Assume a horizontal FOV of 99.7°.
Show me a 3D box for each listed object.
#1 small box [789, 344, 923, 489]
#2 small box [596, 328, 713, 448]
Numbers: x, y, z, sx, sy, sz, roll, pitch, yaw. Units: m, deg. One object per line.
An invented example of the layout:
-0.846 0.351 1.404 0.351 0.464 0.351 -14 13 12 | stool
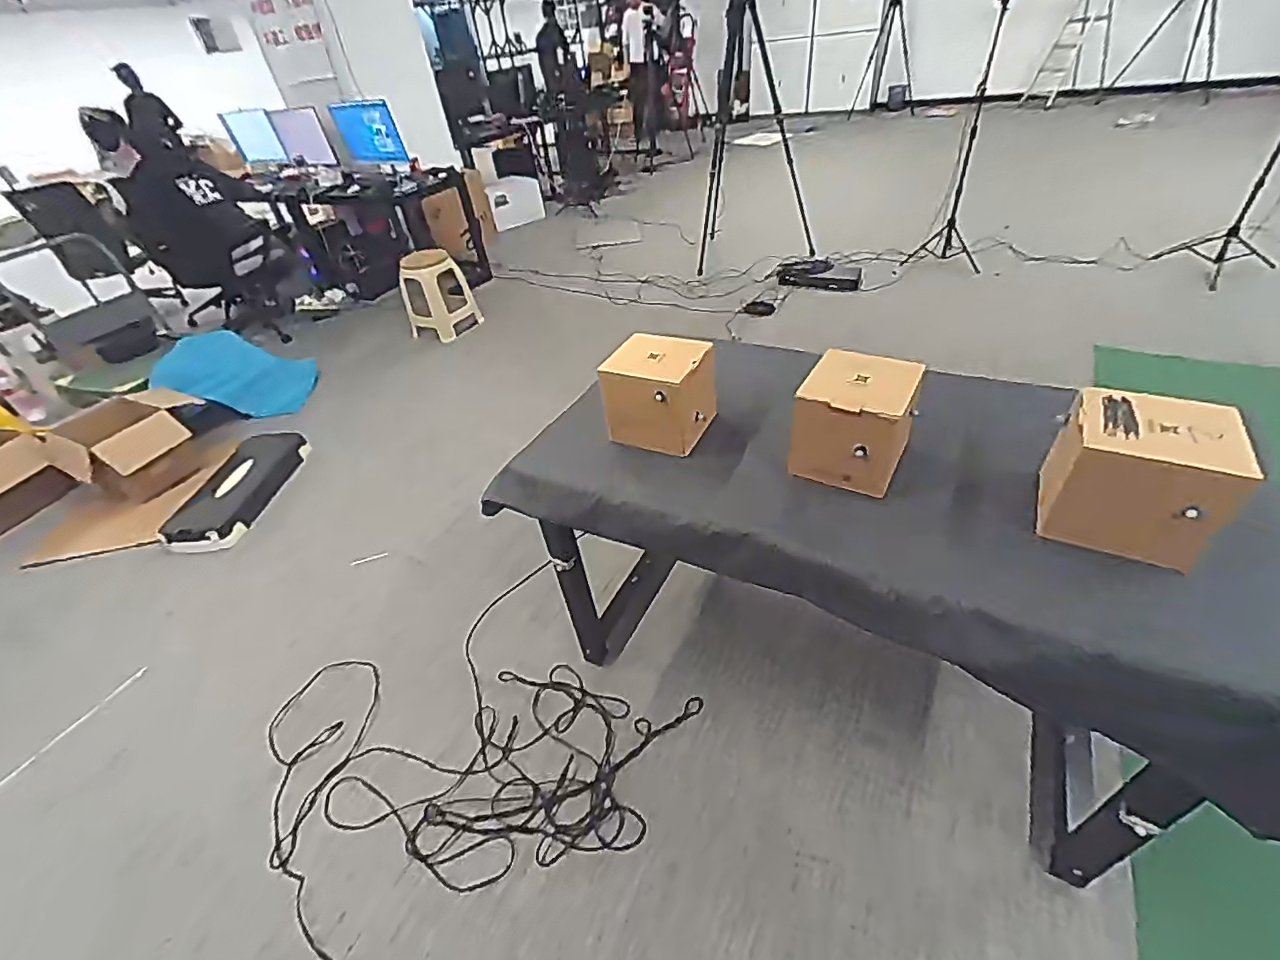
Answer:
0.368 -0.110 0.939 0.168 0.176 0.179 19 46 27 | small box
0.036 -0.184 1.079 0.179 0.176 0.168 15 45 23 | small box
